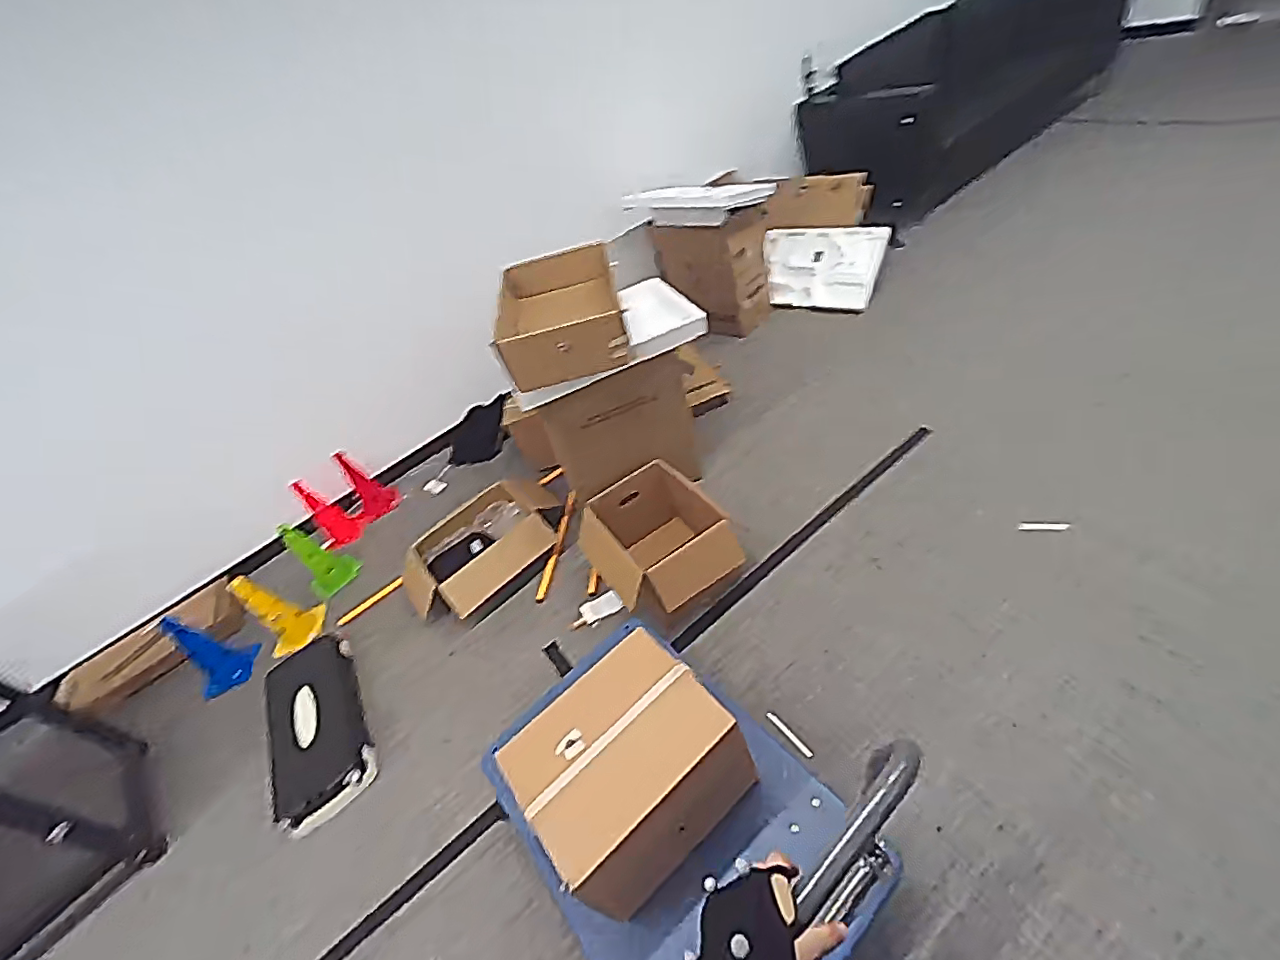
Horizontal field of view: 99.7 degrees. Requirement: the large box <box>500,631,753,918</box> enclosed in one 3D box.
[{"bbox_3d":[-0.014,0.627,1.181,0.408,0.320,0.320,-39,42,-18],"label":"large box"}]
